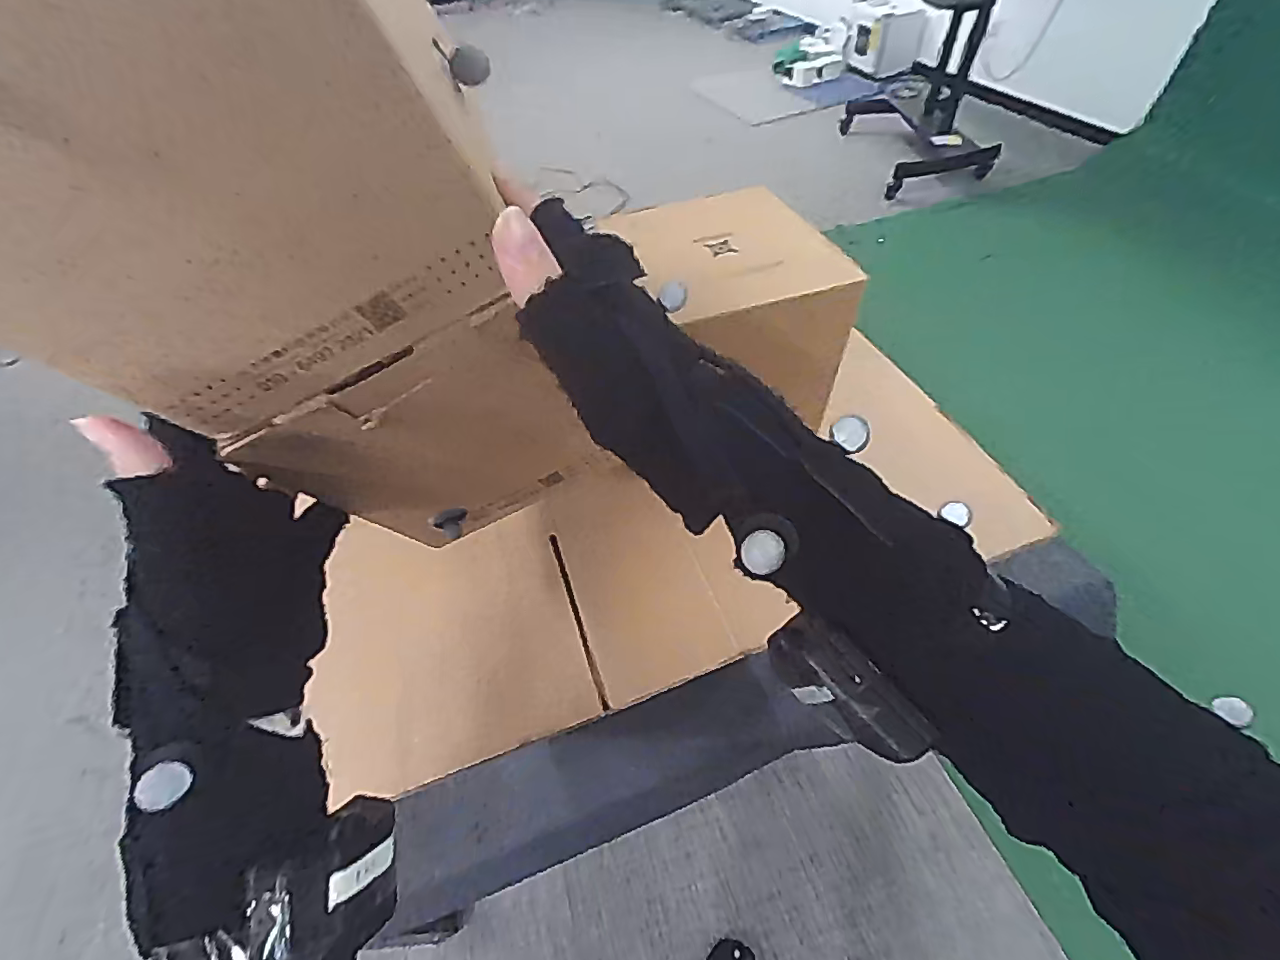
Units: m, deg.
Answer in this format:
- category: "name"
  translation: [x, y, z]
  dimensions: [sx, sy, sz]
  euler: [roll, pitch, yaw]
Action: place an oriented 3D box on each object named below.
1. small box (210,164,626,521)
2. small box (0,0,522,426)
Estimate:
- category: "small box"
  translation: [-0.126, -0.089, 0.344]
  dimensions: [0.168, 0.176, 0.179]
  euler: [-25, 63, 6]
- category: "small box"
  translation: [-0.167, -0.151, 0.198]
  dimensions: [0.168, 0.176, 0.179]
  euler: [-25, 63, 7]
